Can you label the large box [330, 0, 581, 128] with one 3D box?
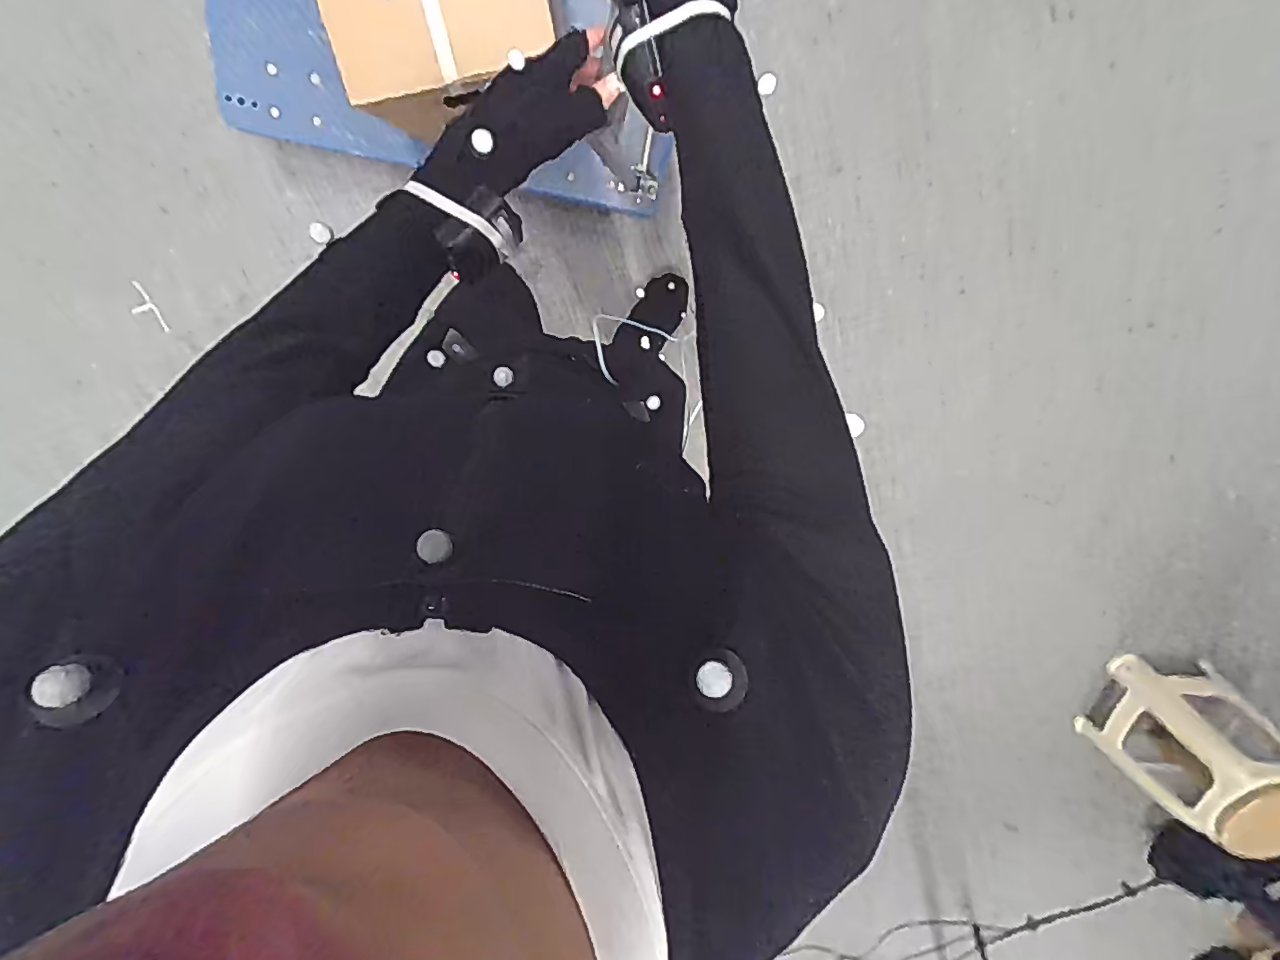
[{"bbox_3d":[-0.289,-0.821,0.824,0.320,0.320,0.408,-8,115,4],"label":"large box"}]
